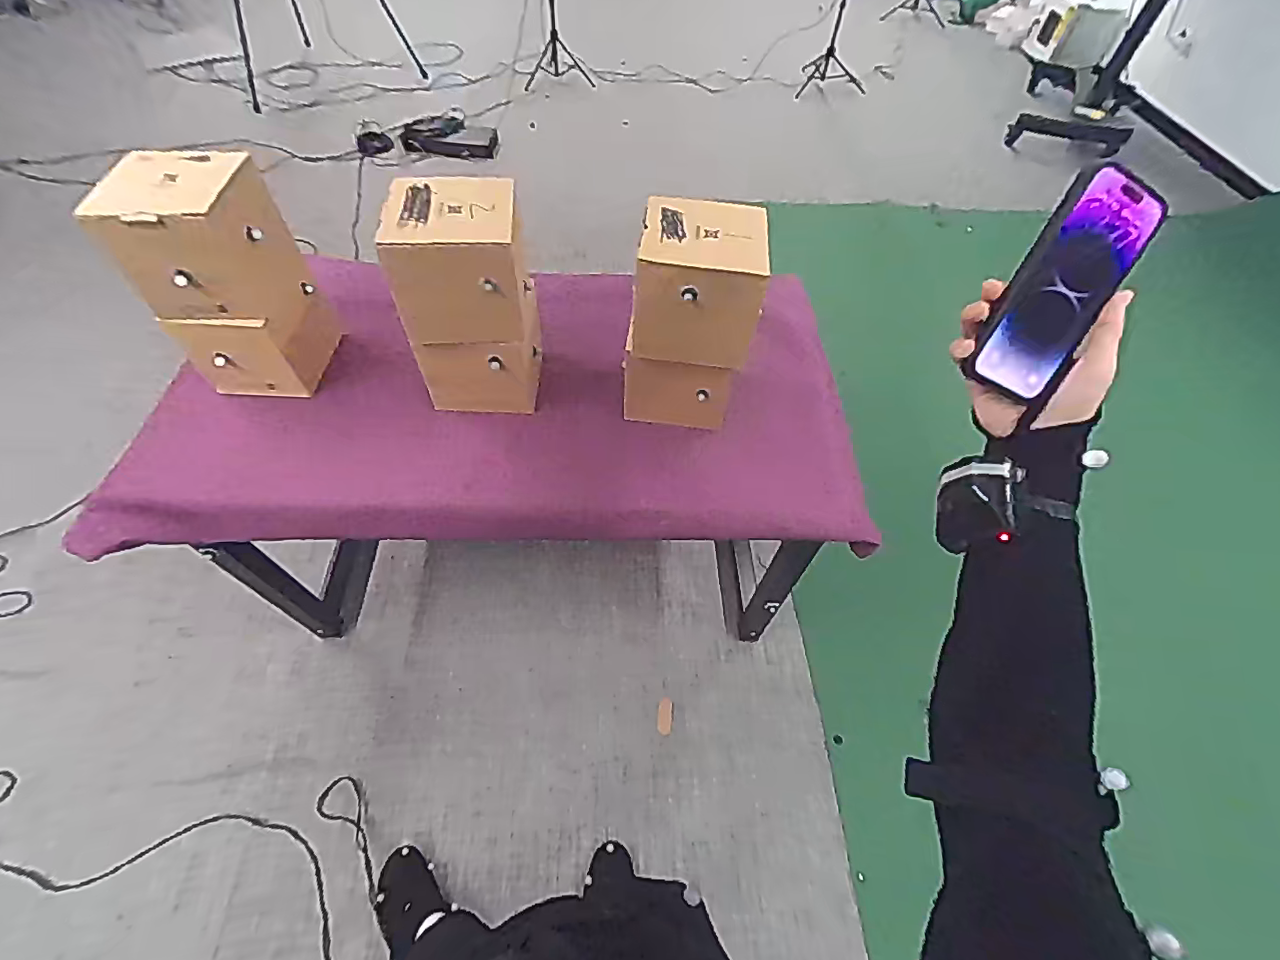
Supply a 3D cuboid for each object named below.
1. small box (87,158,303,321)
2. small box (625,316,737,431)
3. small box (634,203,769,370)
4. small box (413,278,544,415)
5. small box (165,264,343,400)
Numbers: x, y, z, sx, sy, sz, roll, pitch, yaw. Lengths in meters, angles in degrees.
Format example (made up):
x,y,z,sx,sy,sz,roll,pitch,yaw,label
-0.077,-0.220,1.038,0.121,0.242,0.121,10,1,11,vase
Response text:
x,y,z,sx,sy,sz,roll,pitch,yaw,label
-0.651,-0.359,0.822,0.168,0.176,0.179,-1,56,-5,small box
0.072,-0.203,0.952,0.179,0.176,0.168,7,55,3,small box
0.087,-0.284,0.809,0.179,0.176,0.168,7,55,1,small box
-0.268,-0.228,0.949,0.179,0.176,0.168,2,55,-2,small box
-0.658,-0.259,0.952,0.168,0.176,0.179,3,55,-1,small box
